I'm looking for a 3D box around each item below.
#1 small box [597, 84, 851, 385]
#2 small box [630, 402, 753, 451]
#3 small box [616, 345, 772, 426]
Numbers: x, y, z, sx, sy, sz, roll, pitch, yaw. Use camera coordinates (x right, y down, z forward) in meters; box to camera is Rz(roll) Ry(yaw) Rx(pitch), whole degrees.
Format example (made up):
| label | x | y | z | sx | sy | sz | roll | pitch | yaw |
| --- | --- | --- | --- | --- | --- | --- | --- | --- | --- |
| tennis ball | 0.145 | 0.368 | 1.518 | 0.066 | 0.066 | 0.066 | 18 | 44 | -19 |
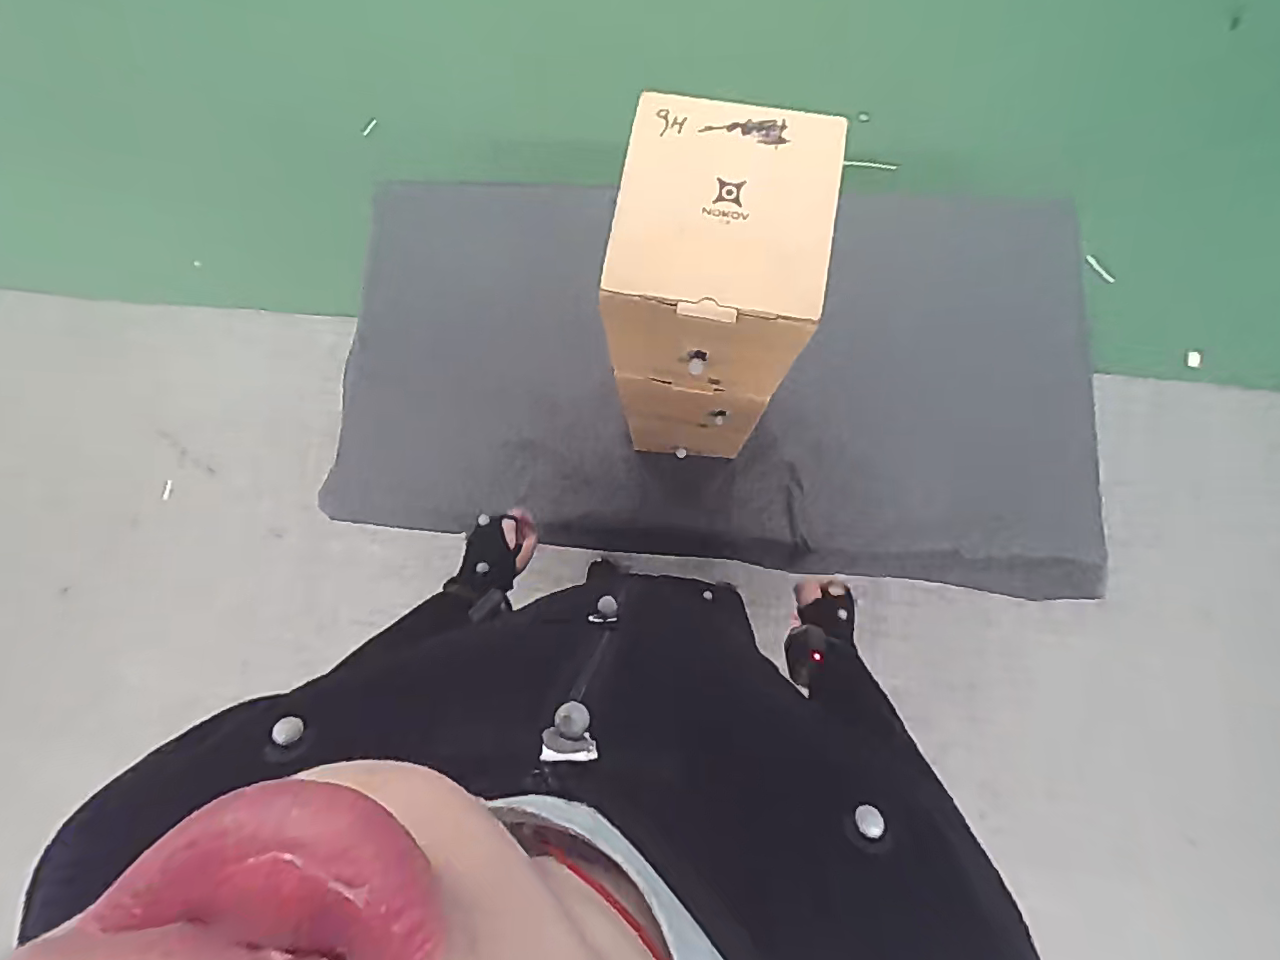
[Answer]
| label | x | y | z | sx | sy | sz | roll | pitch | yaw |
| --- | --- | --- | --- | --- | --- | --- | --- | --- | --- |
| small box | 0.067 | -0.199 | 0.484 | 0.168 | 0.176 | 0.179 | 11 | 83 | 4 |
| small box | 0.080 | -0.152 | 0.806 | 0.168 | 0.176 | 0.179 | 6 | 82 | 4 |
| small box | 0.072 | -0.174 | 0.646 | 0.168 | 0.176 | 0.179 | 9 | 81 | 3 |
